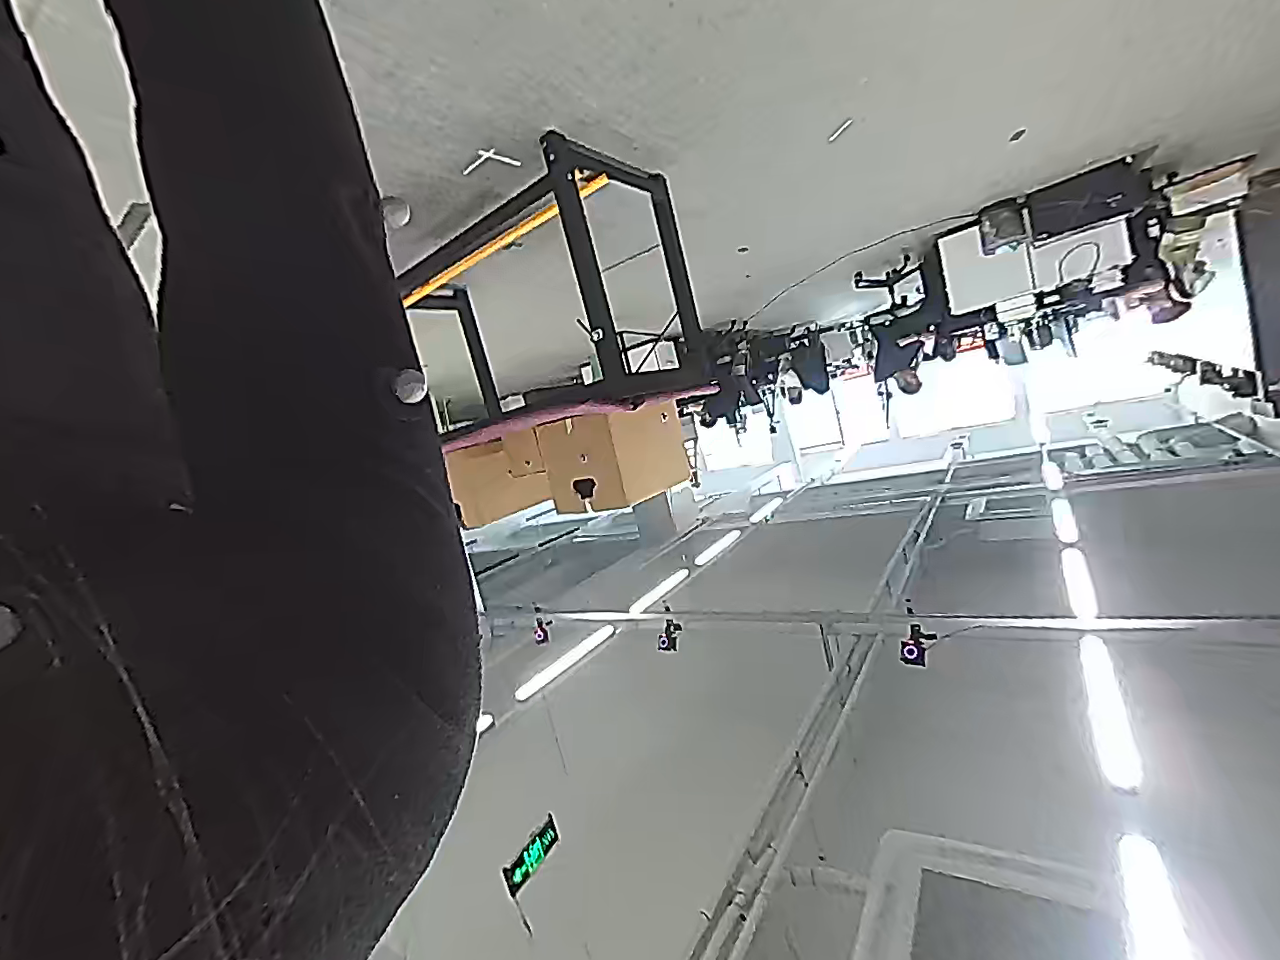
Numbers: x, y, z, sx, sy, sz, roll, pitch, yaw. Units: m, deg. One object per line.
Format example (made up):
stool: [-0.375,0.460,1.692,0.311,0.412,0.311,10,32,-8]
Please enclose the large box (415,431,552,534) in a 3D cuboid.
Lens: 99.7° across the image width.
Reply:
large box: [-0.647,0.005,2.257,0.320,0.320,0.408,-10,-171,36]
